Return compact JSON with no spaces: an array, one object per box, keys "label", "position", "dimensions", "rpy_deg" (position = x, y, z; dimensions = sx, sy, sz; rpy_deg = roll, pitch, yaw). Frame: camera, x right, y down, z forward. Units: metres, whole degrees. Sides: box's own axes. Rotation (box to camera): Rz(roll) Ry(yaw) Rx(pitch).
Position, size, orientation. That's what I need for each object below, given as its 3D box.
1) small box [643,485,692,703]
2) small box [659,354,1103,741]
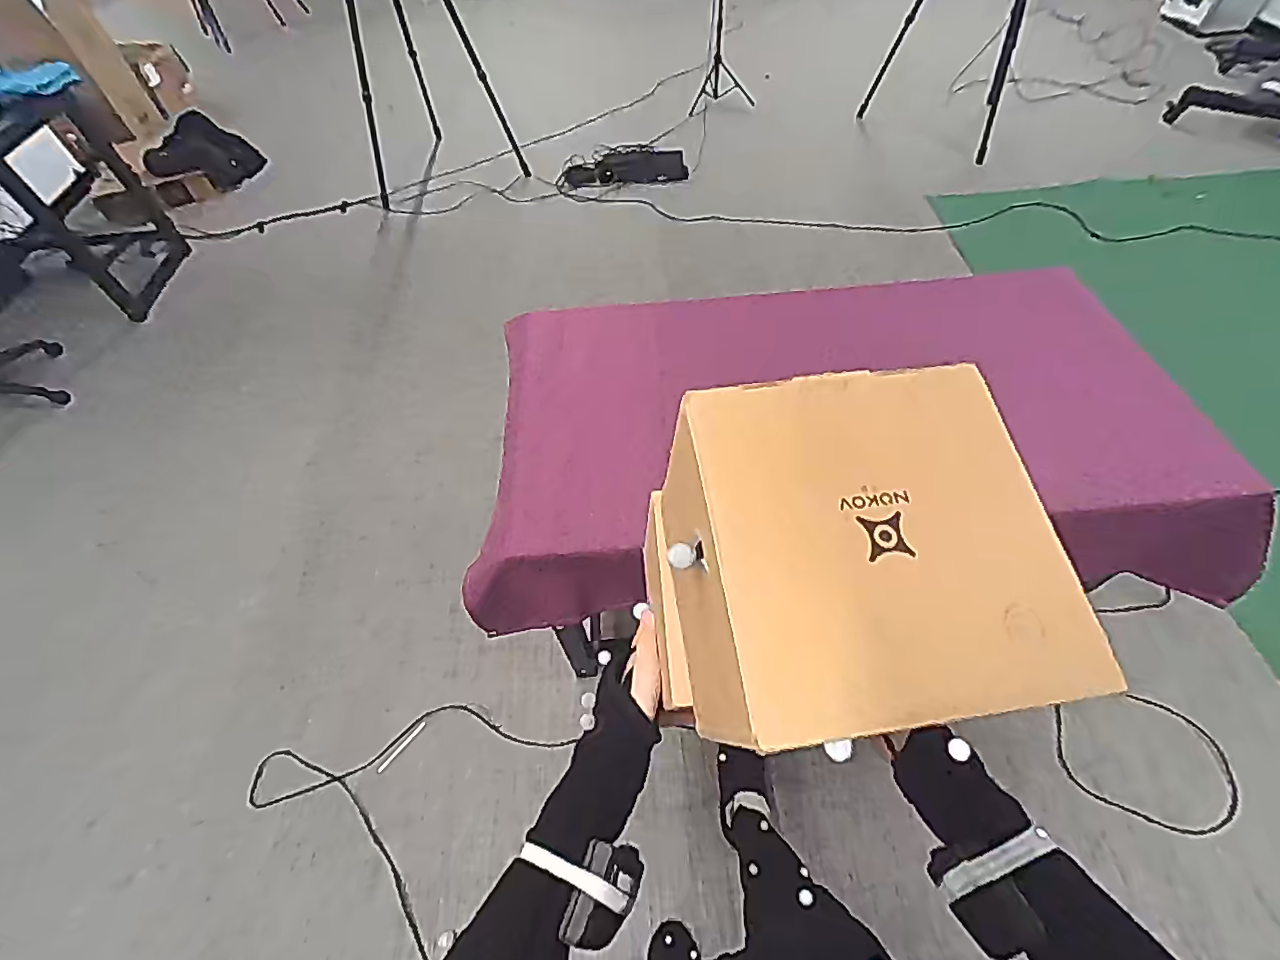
[{"label":"small box","position":[0.097,0.105,0.485],"dimensions":[0.179,0.176,0.168],"rpy_deg":[-5,66,-2]},{"label":"small box","position":[0.106,0.051,0.331],"dimensions":[0.168,0.176,0.179],"rpy_deg":[-7,66,-4]}]
